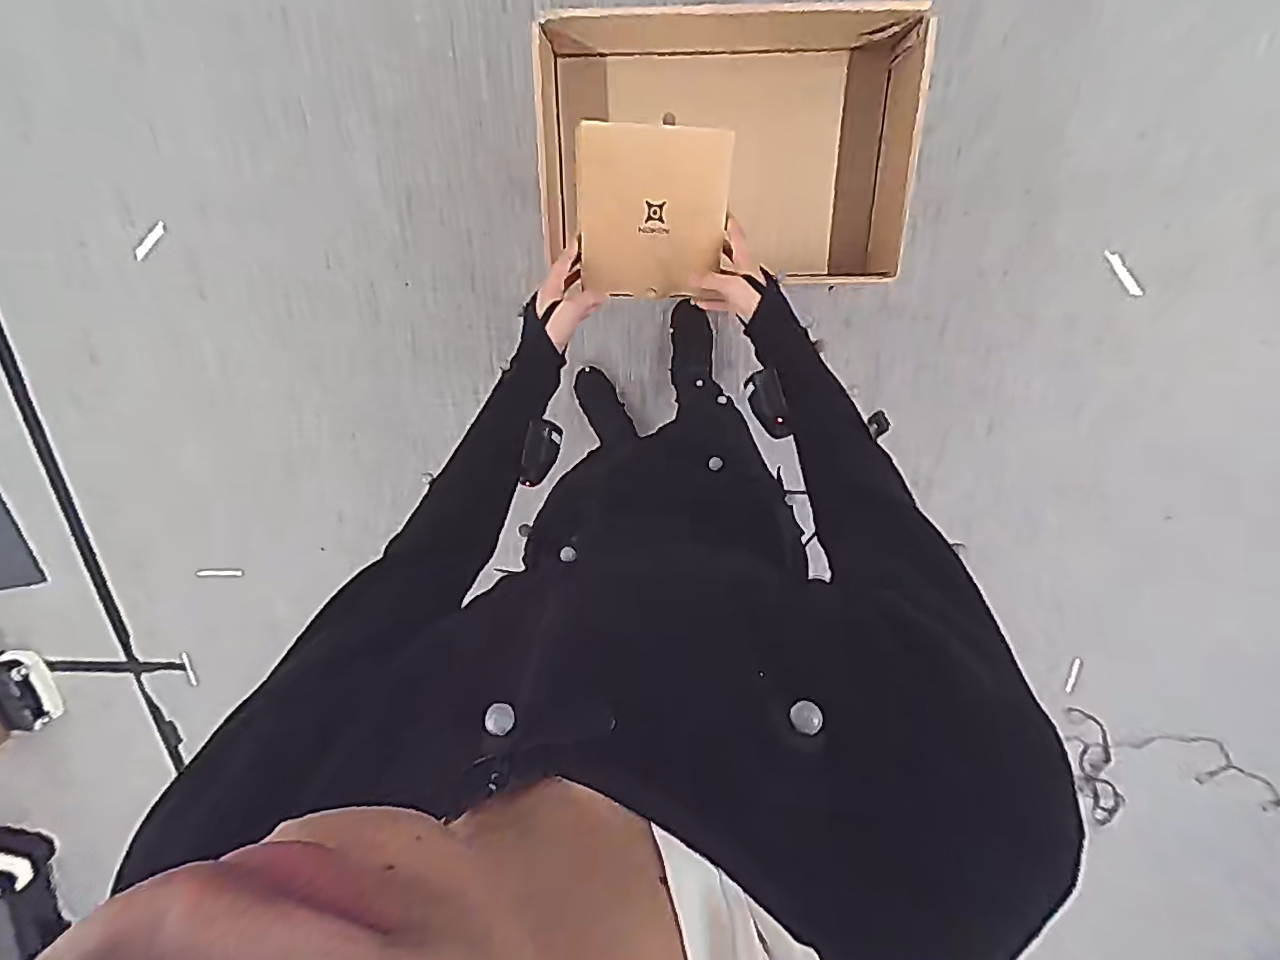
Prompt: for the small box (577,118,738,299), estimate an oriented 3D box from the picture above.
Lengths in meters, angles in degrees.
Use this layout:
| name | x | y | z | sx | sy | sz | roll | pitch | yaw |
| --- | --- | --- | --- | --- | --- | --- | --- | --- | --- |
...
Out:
| name | x | y | z | sx | sy | sz | roll | pitch | yaw |
| --- | --- | --- | --- | --- | --- | --- | --- | --- | --- |
| small box | 0.008 | -0.332 | 0.664 | 0.168 | 0.176 | 0.179 | -1 | 122 | -7 |
